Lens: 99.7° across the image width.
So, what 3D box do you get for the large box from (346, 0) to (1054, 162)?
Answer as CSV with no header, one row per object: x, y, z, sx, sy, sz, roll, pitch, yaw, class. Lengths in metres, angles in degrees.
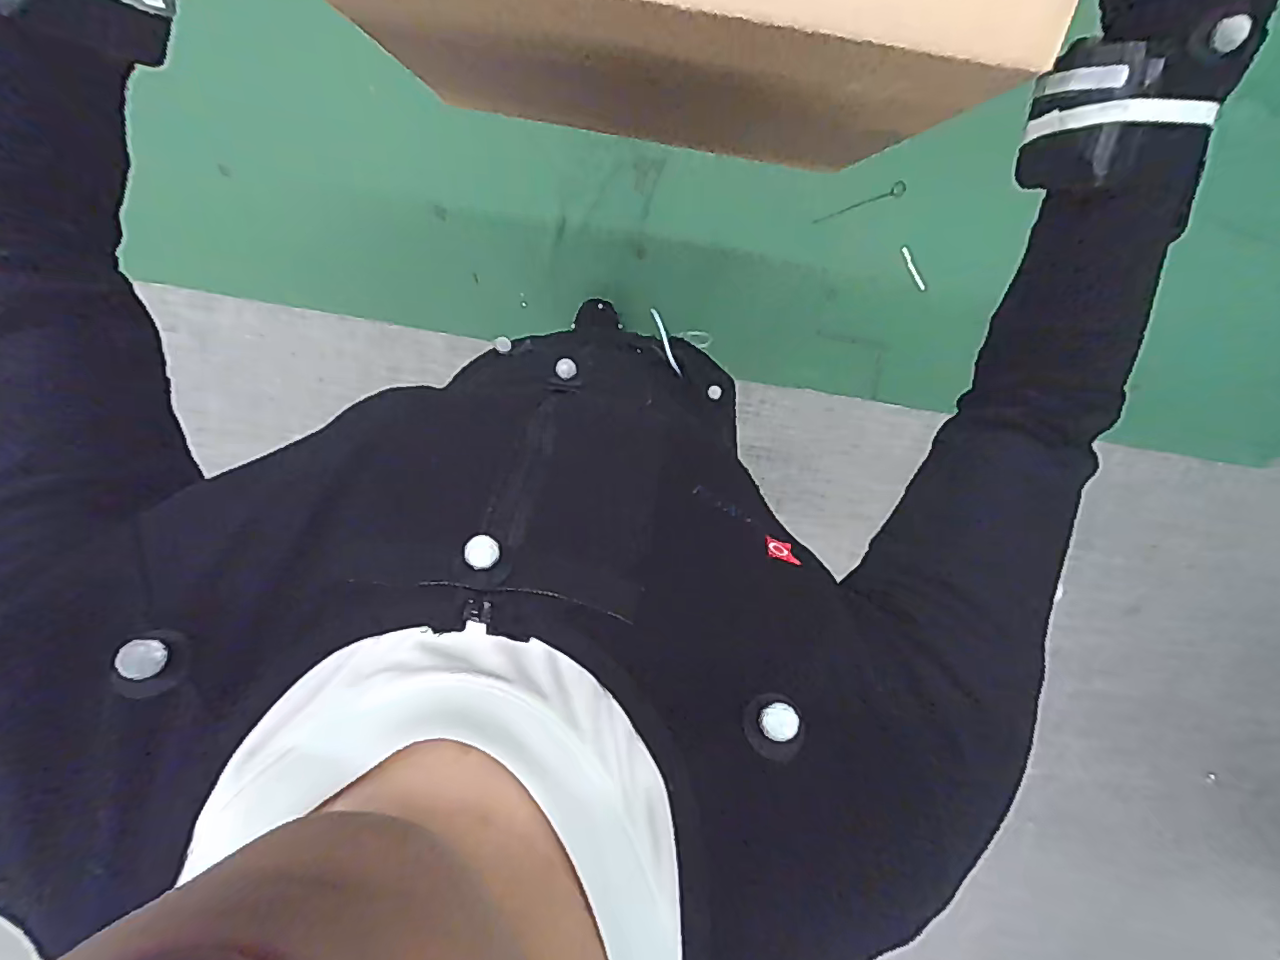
0.029,-0.438,0.360,0.408,0.320,0.320,7,112,-3,large box
